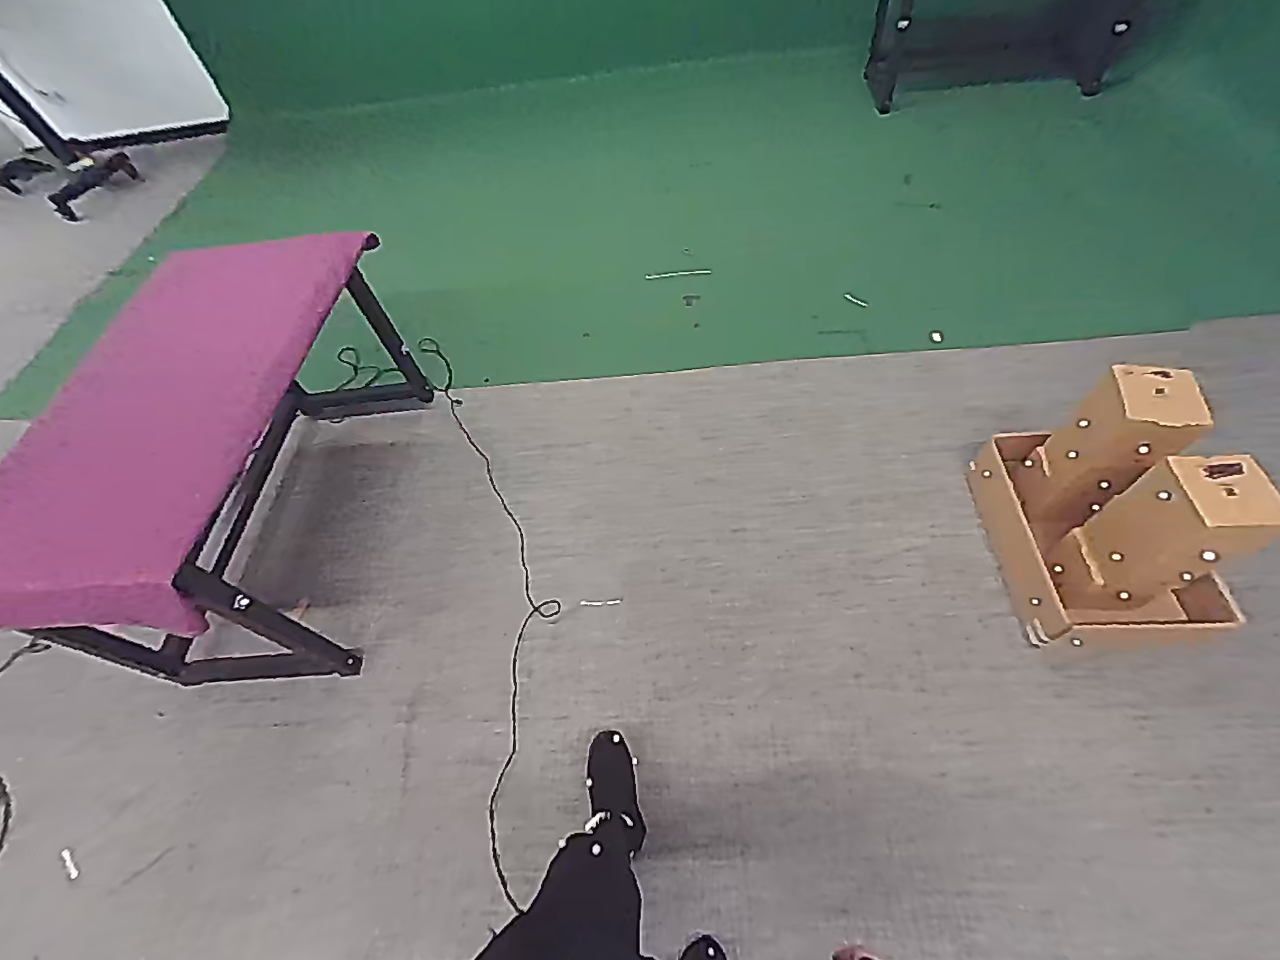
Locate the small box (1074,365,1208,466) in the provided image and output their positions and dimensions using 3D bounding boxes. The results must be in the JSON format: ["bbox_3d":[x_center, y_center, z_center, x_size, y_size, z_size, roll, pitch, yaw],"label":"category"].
[{"bbox_3d":[1.209,-0.153,1.320,0.168,0.176,0.179,8,59,12],"label":"small box"}]

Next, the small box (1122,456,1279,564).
[{"bbox_3d":[1.212,0.066,1.173,0.168,0.176,0.179,-1,55,7],"label":"small box"}]
